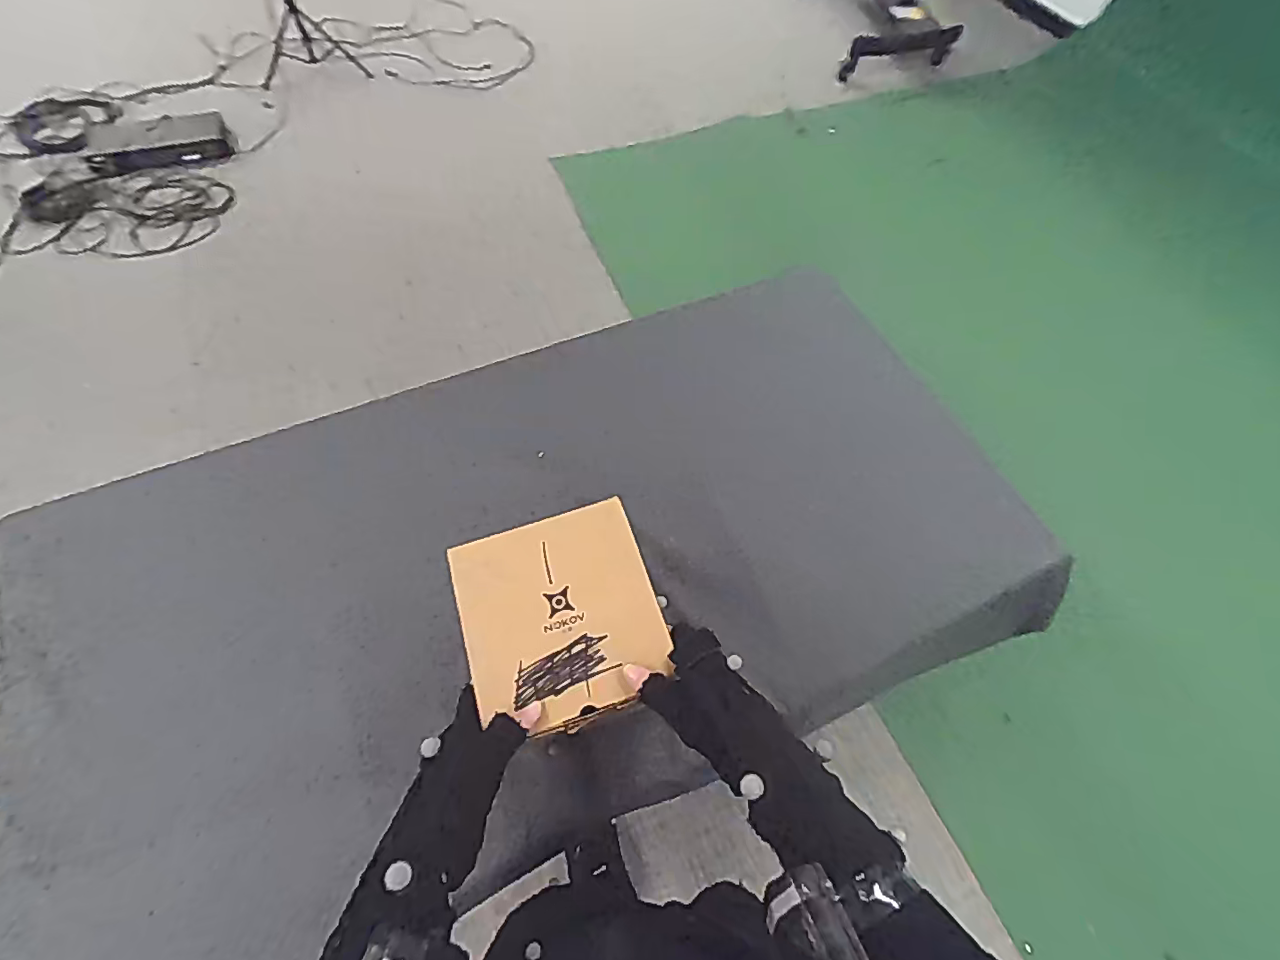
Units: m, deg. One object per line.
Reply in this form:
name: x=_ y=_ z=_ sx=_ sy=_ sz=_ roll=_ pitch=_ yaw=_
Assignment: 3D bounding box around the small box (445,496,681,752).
small box: x=-0.069 y=0.145 z=0.541 sx=0.168 sy=0.176 sz=0.179 roll=-20 pitch=68 yaw=-9
